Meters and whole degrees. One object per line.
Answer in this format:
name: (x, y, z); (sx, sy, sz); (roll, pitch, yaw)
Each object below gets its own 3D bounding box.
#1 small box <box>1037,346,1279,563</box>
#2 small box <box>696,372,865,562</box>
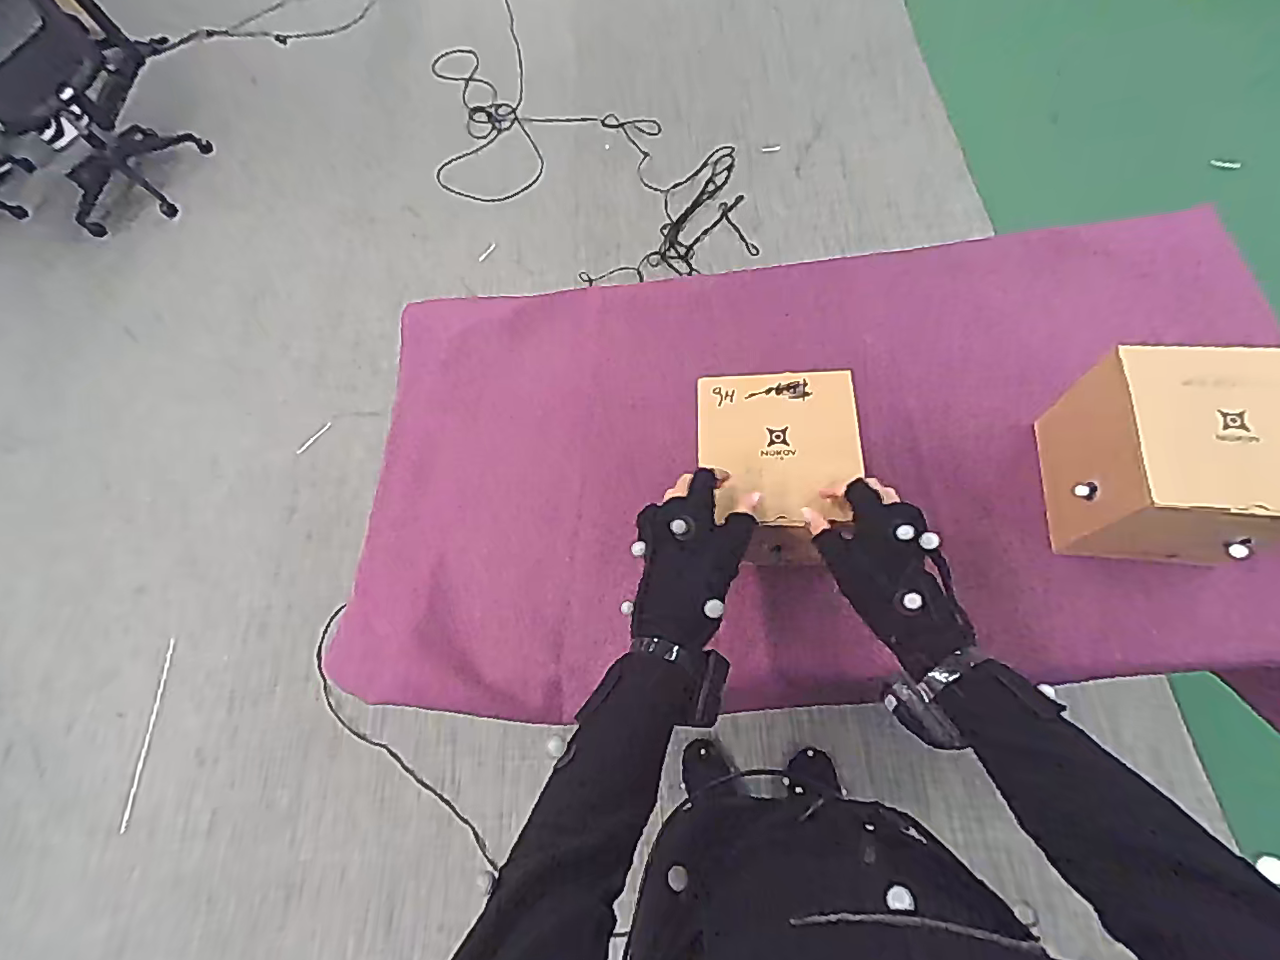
small box: (0.558, -0.019, 0.571); (0.168, 0.176, 0.179); (5, 68, 11)
small box: (0.154, -0.004, 0.634); (0.168, 0.176, 0.179); (-1, 68, 9)
